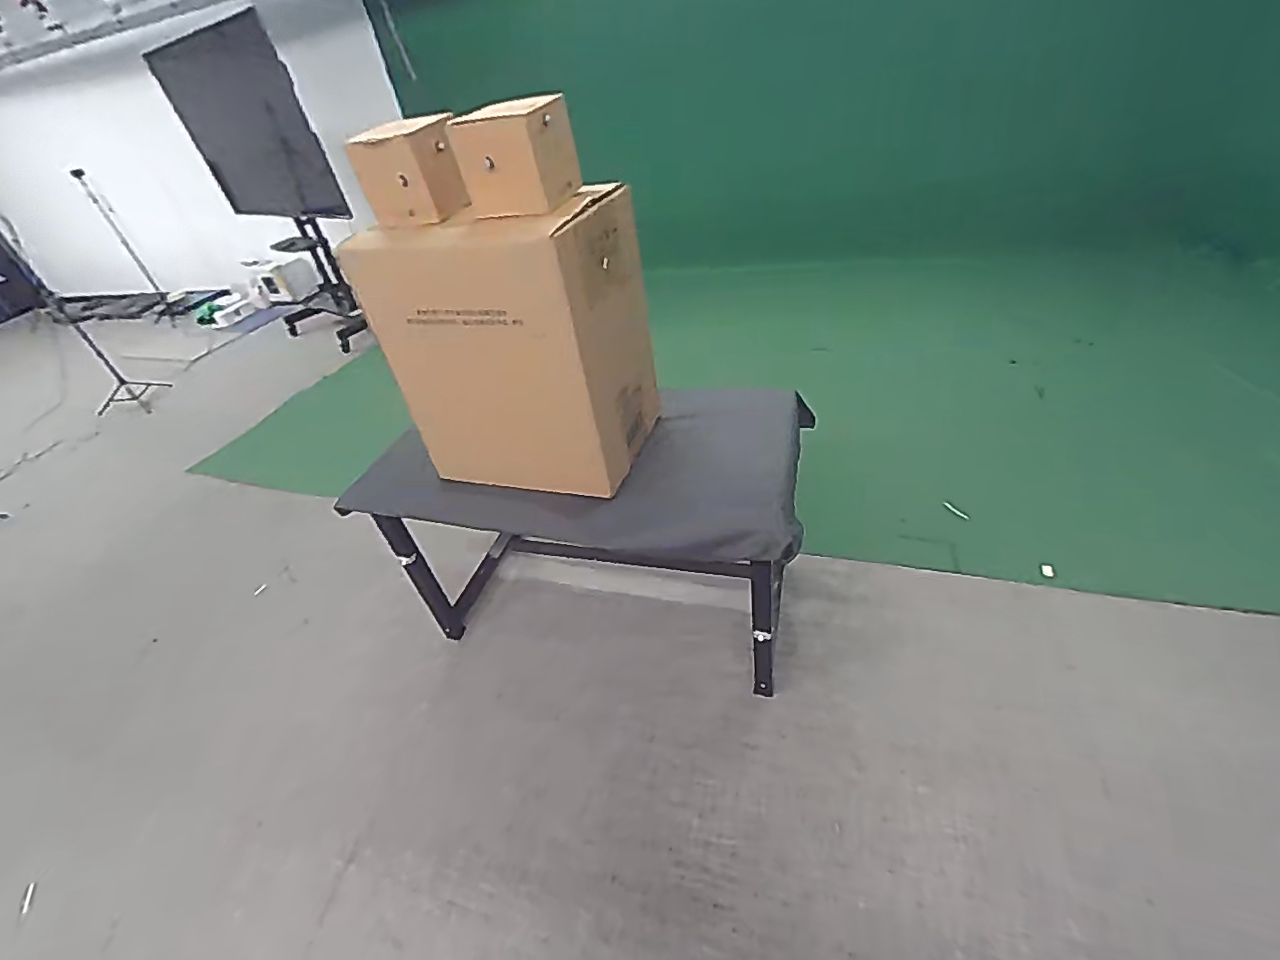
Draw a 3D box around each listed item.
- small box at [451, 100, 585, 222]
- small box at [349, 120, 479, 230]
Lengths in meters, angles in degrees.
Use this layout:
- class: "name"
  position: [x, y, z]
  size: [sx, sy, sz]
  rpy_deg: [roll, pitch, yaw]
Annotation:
- class: "small box"
  position: [-0.233, -0.631, 1.080]
  size: [0.179, 0.176, 0.168]
  rpy_deg: [6, 45, 22]
- class: "small box"
  position: [-0.472, -0.653, 1.170]
  size: [0.168, 0.176, 0.179]
  rpy_deg: [7, 44, 19]
